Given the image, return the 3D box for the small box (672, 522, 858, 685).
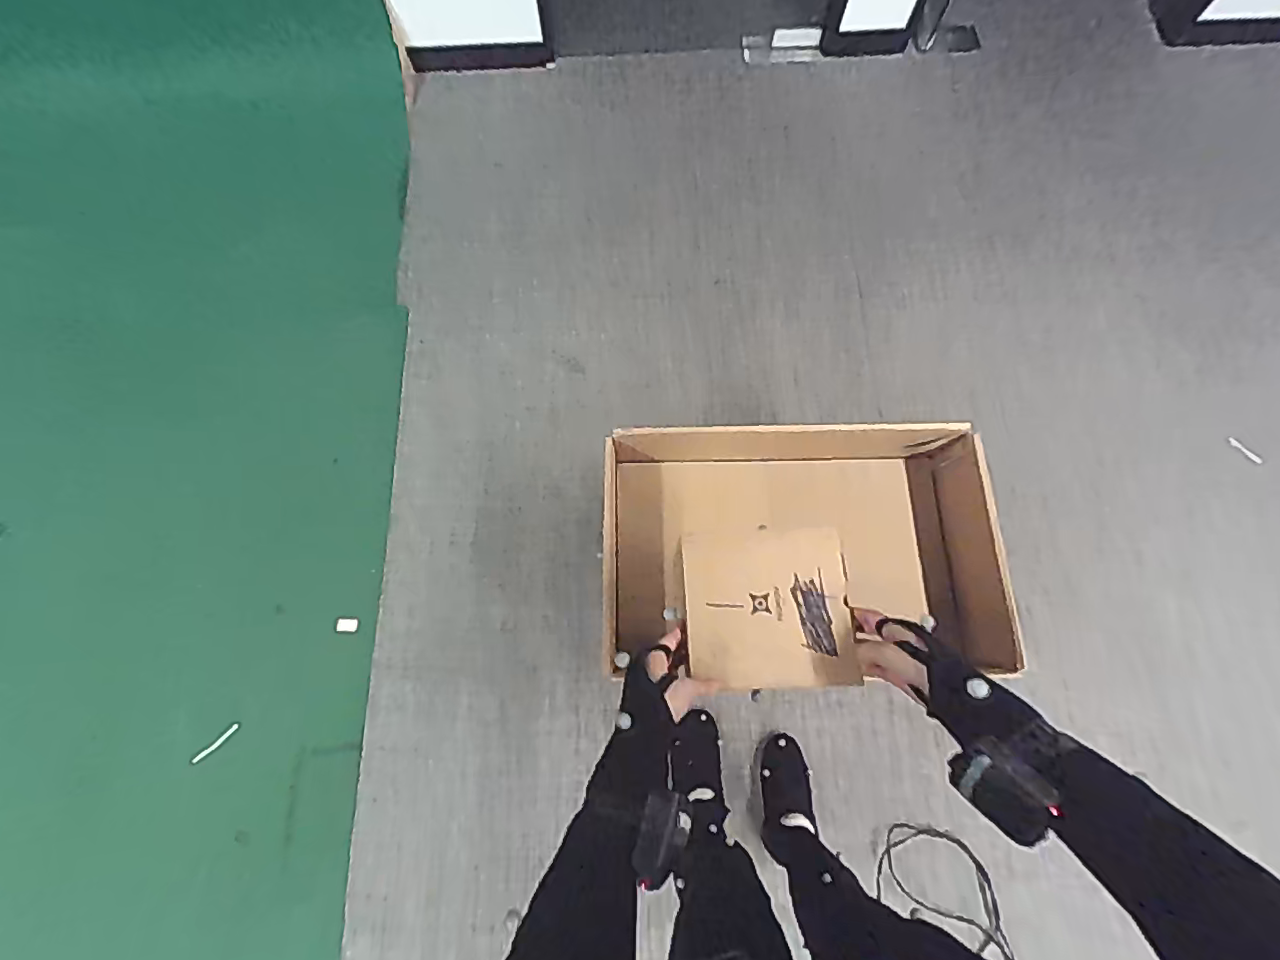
[{"bbox_3d":[0.132,0.152,0.641,0.179,0.176,0.168,-3,69,1],"label":"small box"}]
